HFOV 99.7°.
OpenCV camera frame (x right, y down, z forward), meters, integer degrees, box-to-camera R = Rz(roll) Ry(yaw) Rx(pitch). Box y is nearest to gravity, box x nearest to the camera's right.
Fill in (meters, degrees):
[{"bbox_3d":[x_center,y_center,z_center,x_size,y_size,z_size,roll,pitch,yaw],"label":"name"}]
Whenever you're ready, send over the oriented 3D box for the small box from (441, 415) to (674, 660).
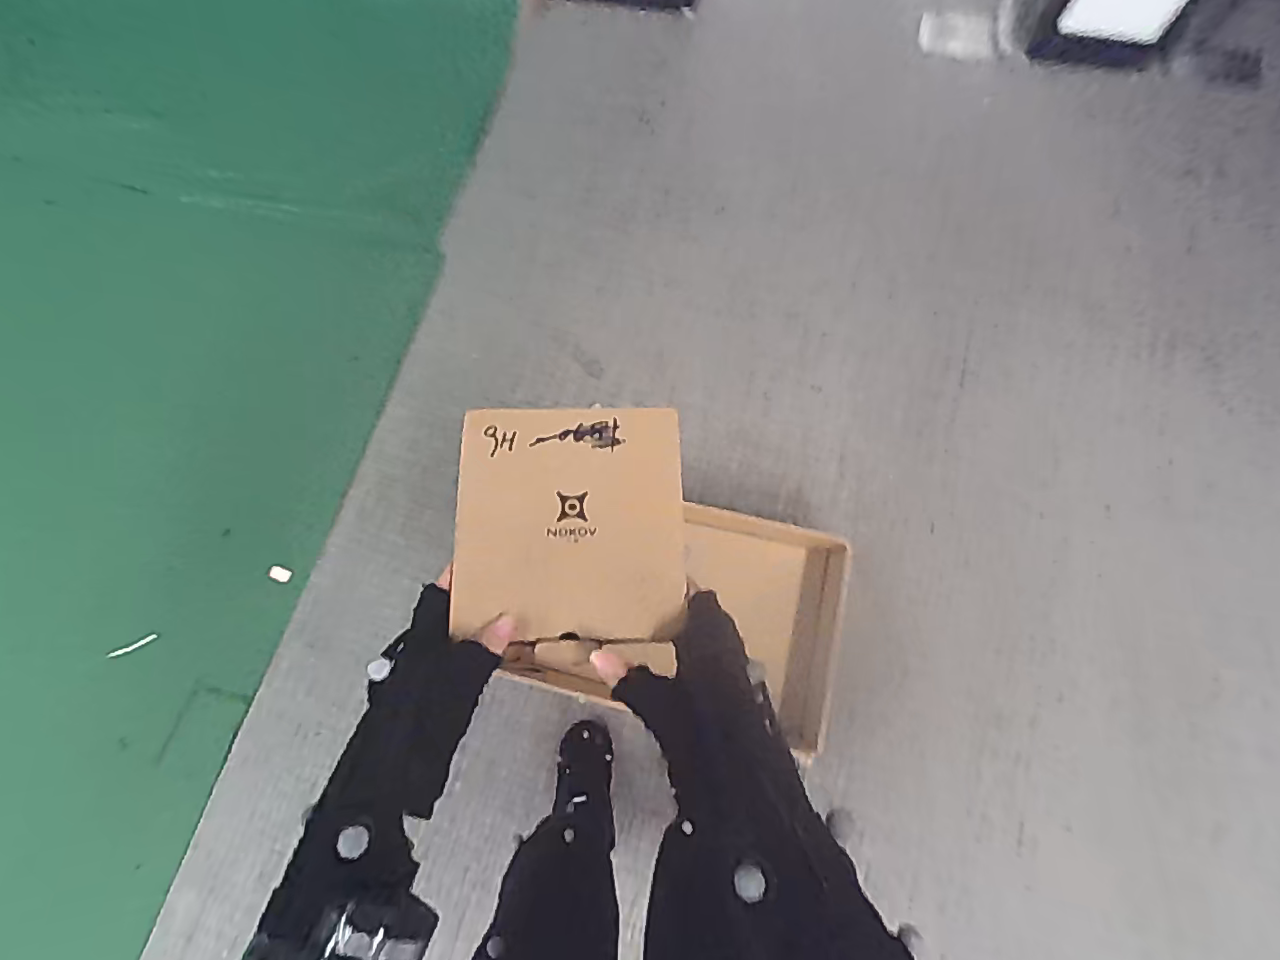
[{"bbox_3d":[-0.060,0.055,0.469,0.168,0.176,0.179,-2,75,-2],"label":"small box"}]
